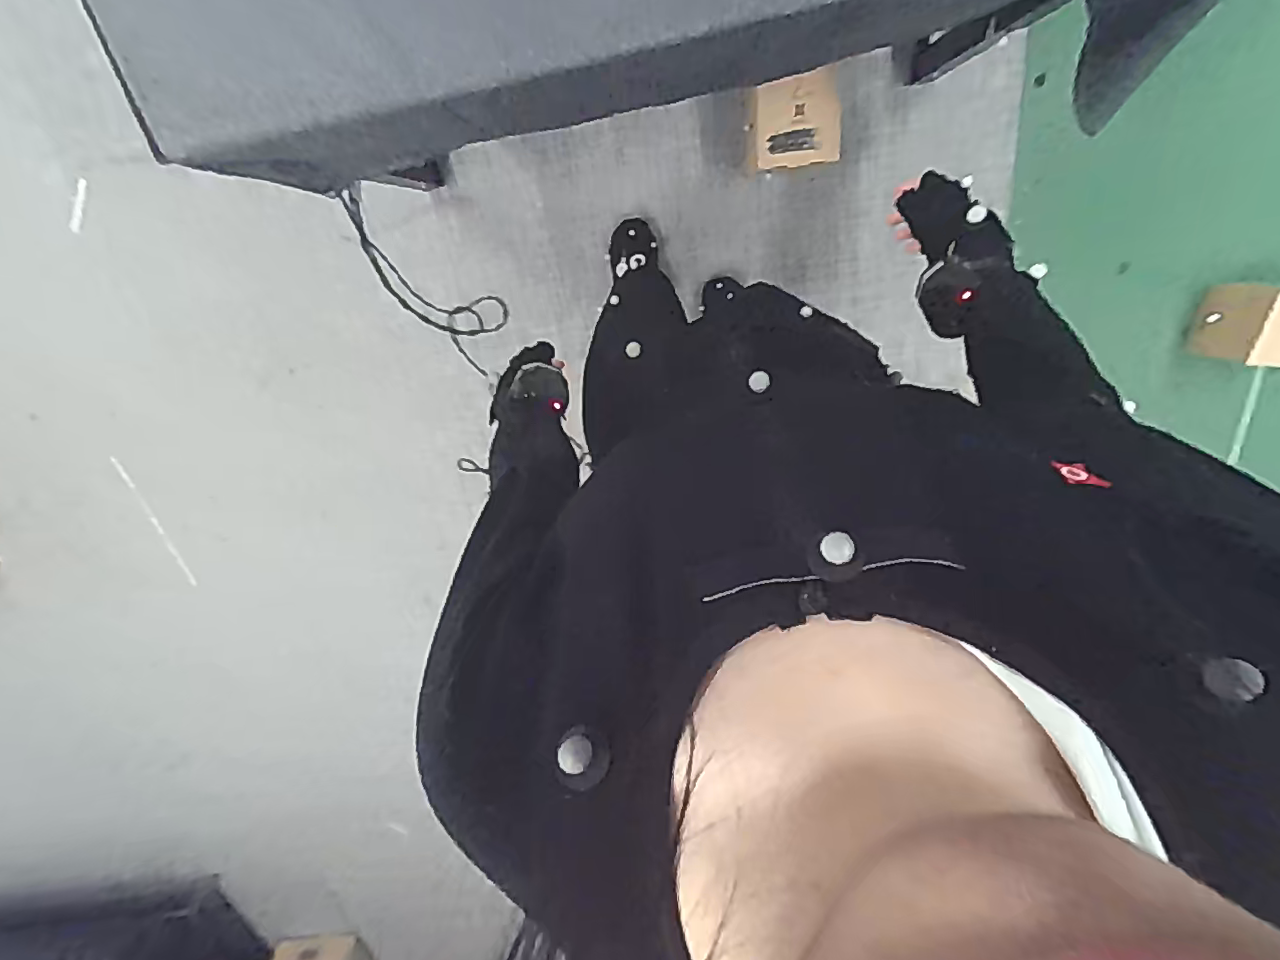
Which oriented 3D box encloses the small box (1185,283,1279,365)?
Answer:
[{"bbox_3d":[1.455,-0.366,1.255,0.179,0.176,0.168,2,114,3],"label":"small box"}]
